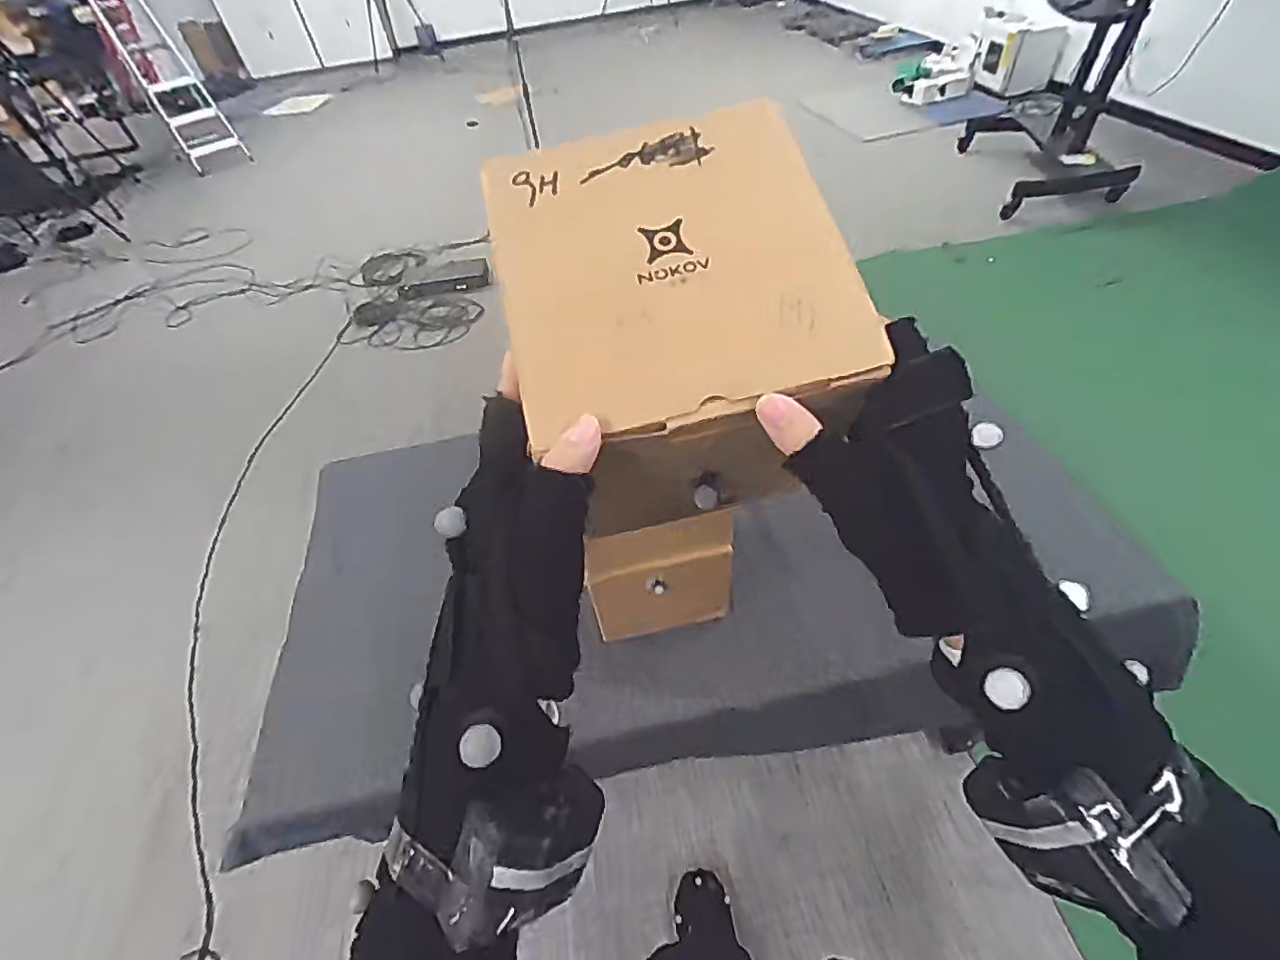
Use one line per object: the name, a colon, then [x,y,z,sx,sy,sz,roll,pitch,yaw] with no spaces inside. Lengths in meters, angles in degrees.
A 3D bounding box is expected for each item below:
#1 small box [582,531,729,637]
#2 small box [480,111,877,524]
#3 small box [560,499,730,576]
small box: [0.014,0.095,0.739,0.179,0.176,0.168,-11,50,-4]
small box: [0.015,-0.079,0.343,0.168,0.176,0.179,-13,72,-2]
small box: [-0.001,-0.015,0.617,0.179,0.176,0.168,-14,50,-3]
